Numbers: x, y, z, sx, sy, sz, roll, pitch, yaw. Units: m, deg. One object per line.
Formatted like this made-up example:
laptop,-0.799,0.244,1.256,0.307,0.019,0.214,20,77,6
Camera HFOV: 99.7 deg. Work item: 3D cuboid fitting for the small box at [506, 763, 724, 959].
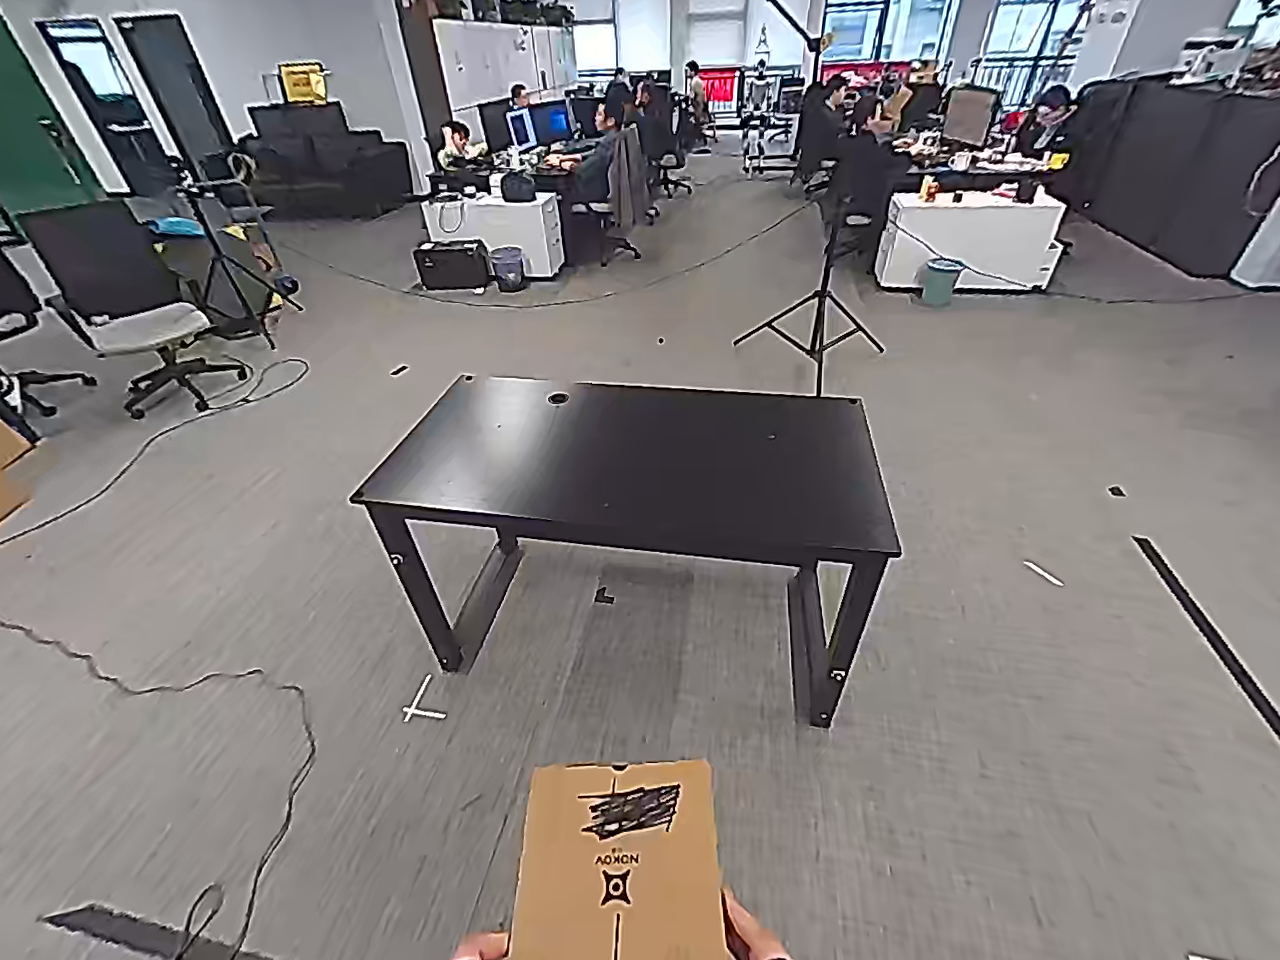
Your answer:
small box,-0.013,0.386,0.493,0.168,0.176,0.179,-5,40,3
